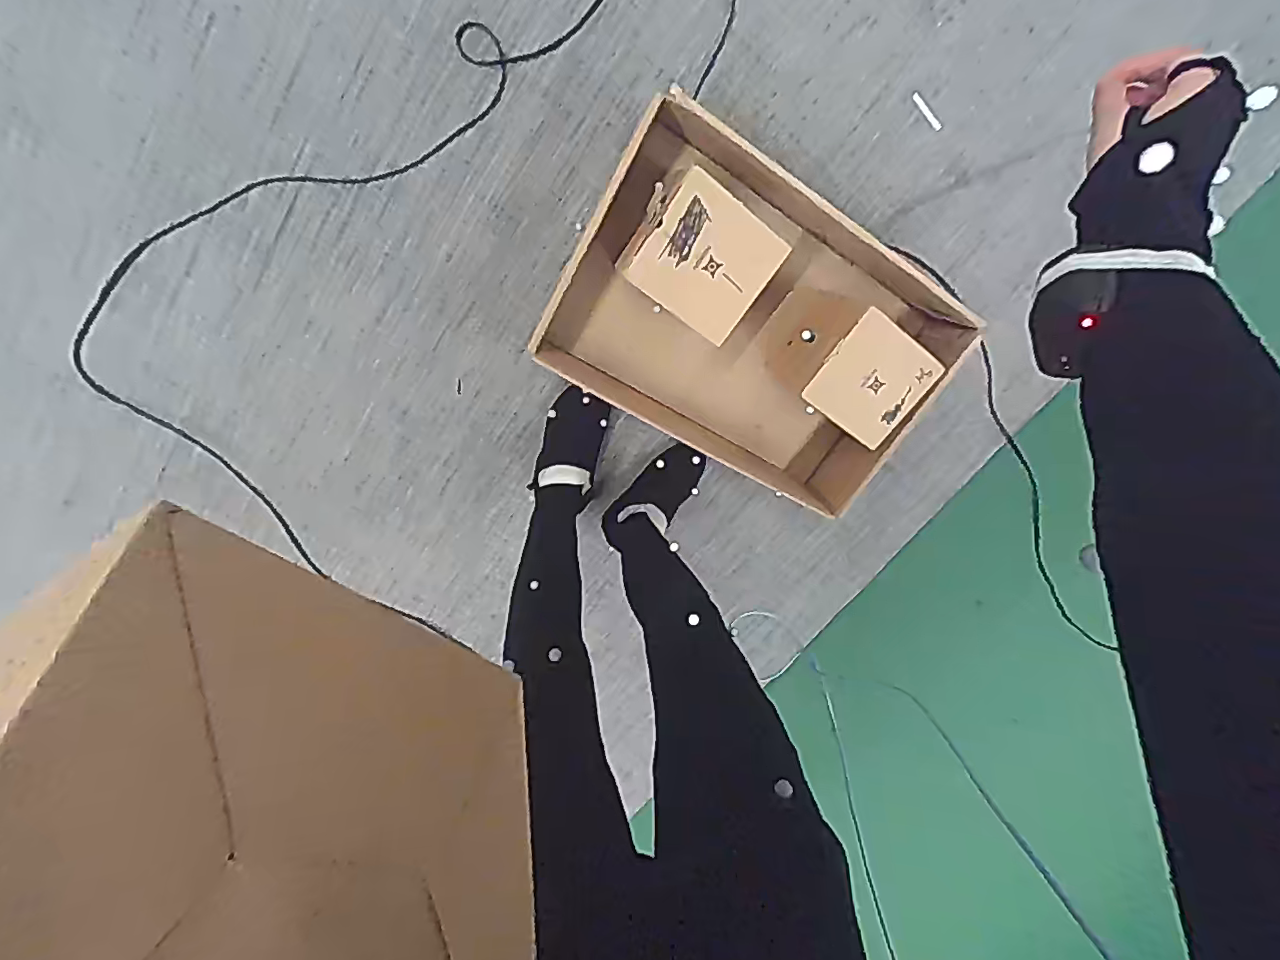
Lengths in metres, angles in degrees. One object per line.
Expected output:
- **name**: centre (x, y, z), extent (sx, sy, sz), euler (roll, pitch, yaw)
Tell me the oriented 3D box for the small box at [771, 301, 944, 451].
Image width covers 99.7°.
- **small box**: centre (0.350, -0.181, 0.906), extent (0.179, 0.176, 0.168), euler (32, 107, -19)
